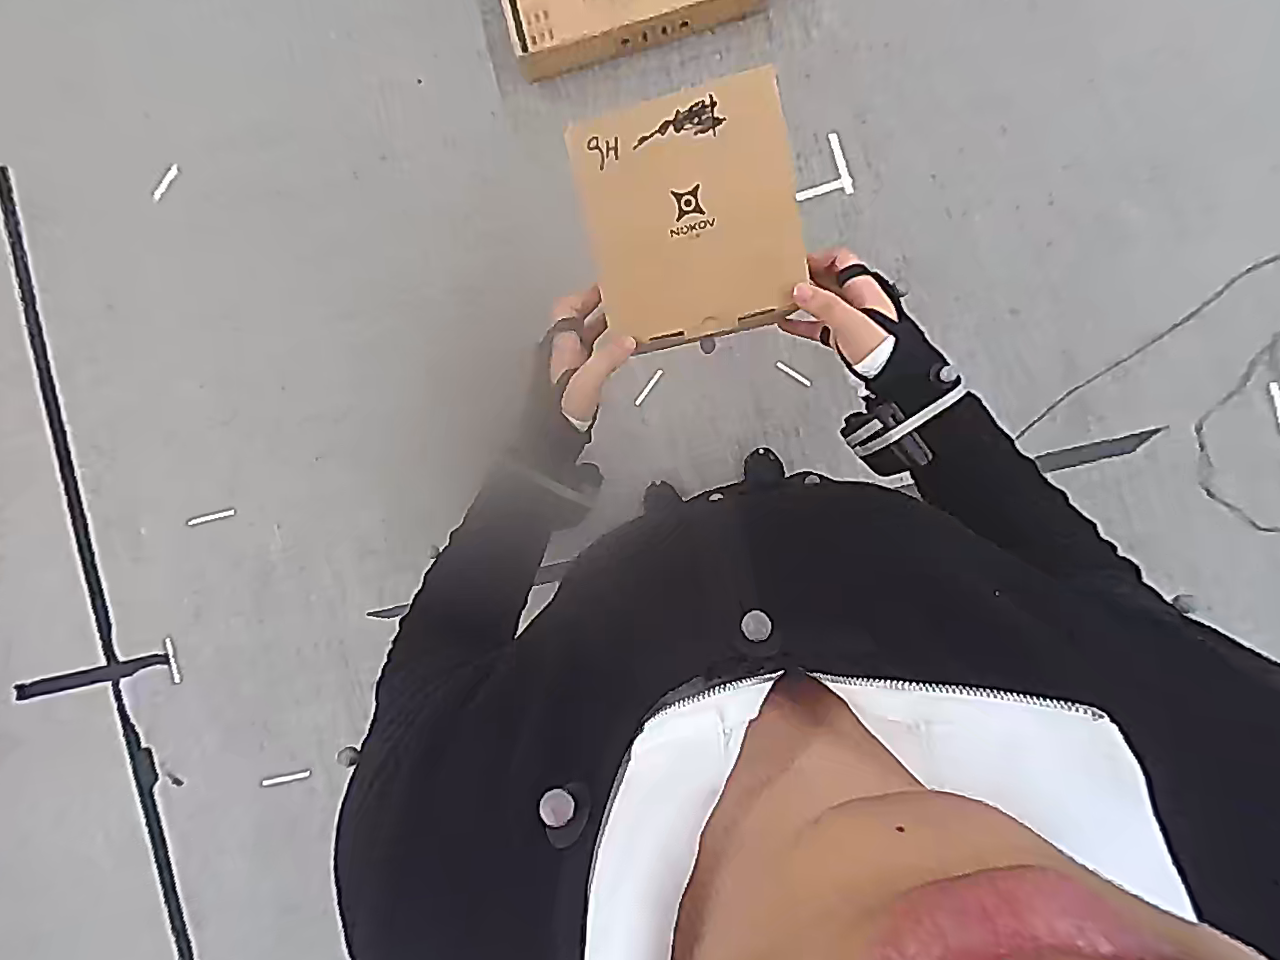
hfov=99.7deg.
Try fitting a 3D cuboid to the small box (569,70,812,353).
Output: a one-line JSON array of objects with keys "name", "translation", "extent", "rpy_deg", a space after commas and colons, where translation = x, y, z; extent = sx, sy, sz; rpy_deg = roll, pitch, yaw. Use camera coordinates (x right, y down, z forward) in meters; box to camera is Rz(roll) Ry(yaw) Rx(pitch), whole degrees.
[{"name": "small box", "translation": [0.048, -0.223, 0.502], "extent": [0.168, 0.176, 0.179], "rpy_deg": [-12, 101, 7]}]
